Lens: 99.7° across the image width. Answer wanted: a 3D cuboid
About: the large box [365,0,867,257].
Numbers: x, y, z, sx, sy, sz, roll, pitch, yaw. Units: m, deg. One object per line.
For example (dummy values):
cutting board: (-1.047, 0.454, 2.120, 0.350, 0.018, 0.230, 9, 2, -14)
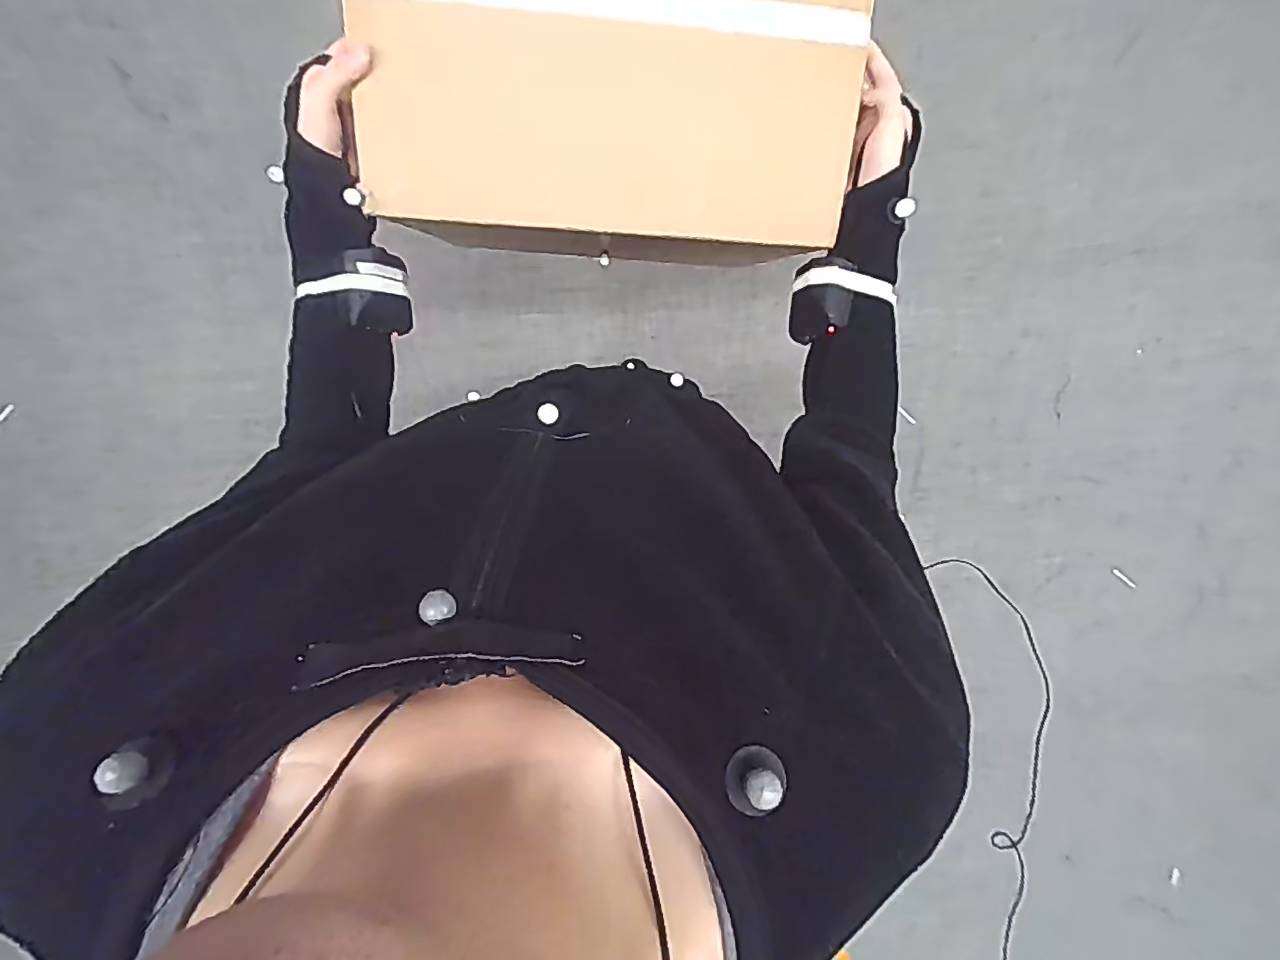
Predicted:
large box: (-0.024, -0.415, 0.570, 0.408, 0.320, 0.320, 2, 108, -5)
